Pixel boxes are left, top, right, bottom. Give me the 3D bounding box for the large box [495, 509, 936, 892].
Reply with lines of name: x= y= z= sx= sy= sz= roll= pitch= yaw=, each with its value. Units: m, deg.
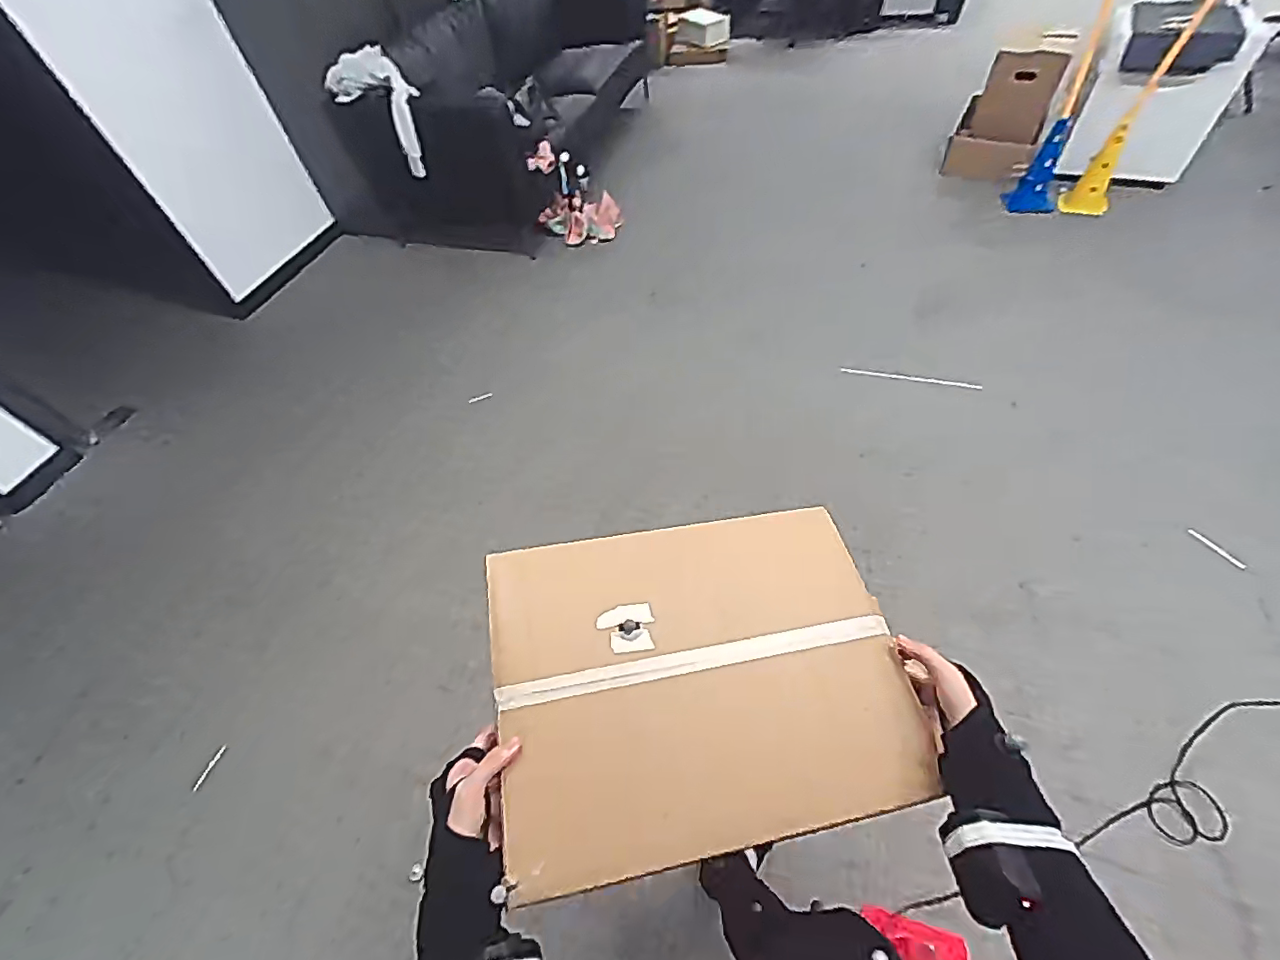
large box: x=0.052 y=0.268 z=0.681 sx=0.408 sy=0.320 sz=0.320 roll=-7 pitch=56 yaw=-9
